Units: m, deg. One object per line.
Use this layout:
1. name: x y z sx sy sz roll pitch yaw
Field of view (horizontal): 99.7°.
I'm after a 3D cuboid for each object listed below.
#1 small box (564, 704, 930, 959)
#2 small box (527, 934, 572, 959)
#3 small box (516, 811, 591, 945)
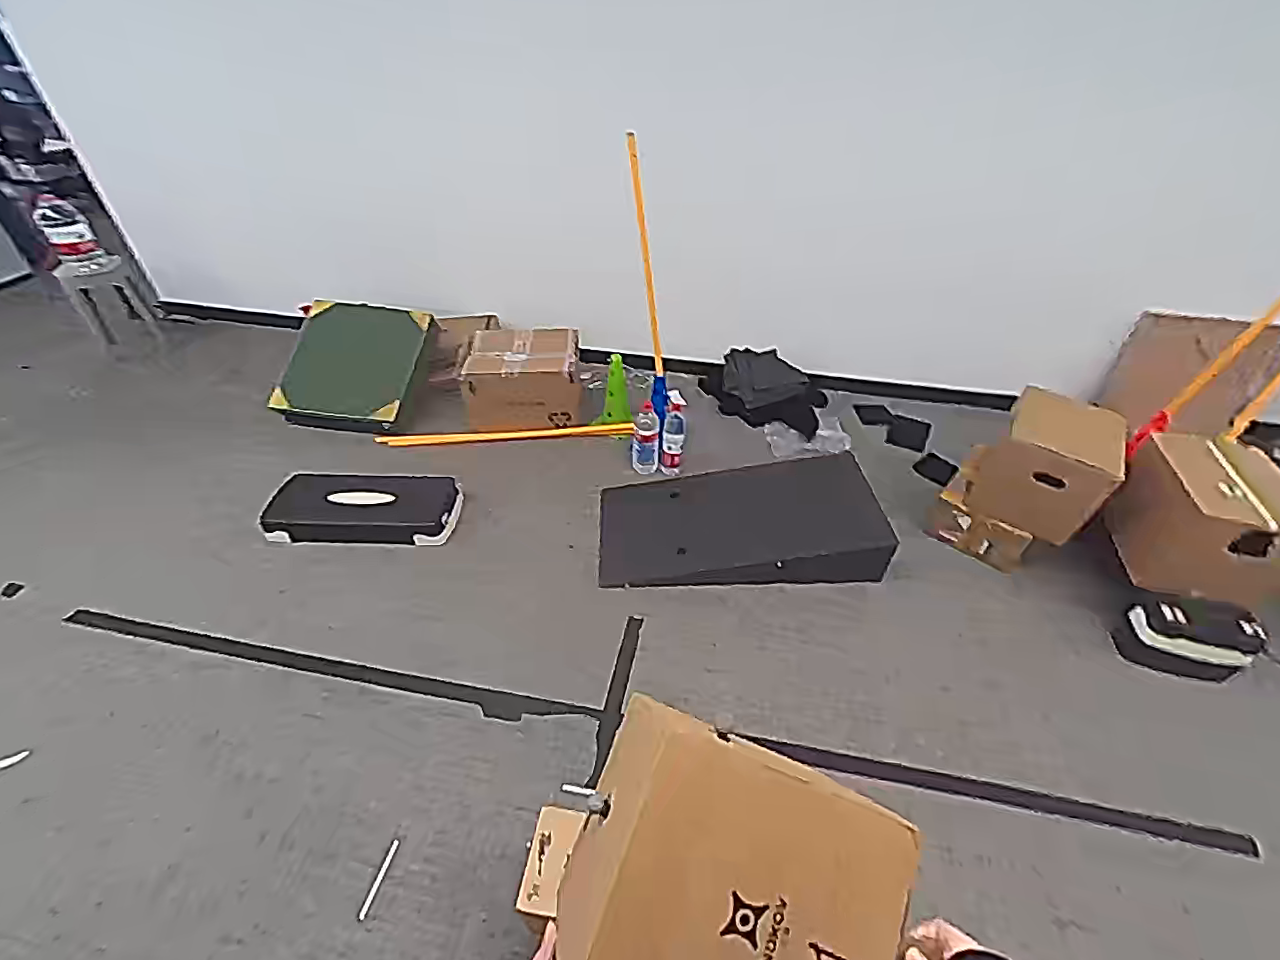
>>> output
1. small box: 0.056 0.270 0.376 0.179 0.176 0.168 24 72 -2
2. small box: -0.116 0.882 1.121 0.168 0.176 0.179 11 41 9
3. small box: -0.116 0.755 1.016 0.179 0.176 0.168 8 41 5
